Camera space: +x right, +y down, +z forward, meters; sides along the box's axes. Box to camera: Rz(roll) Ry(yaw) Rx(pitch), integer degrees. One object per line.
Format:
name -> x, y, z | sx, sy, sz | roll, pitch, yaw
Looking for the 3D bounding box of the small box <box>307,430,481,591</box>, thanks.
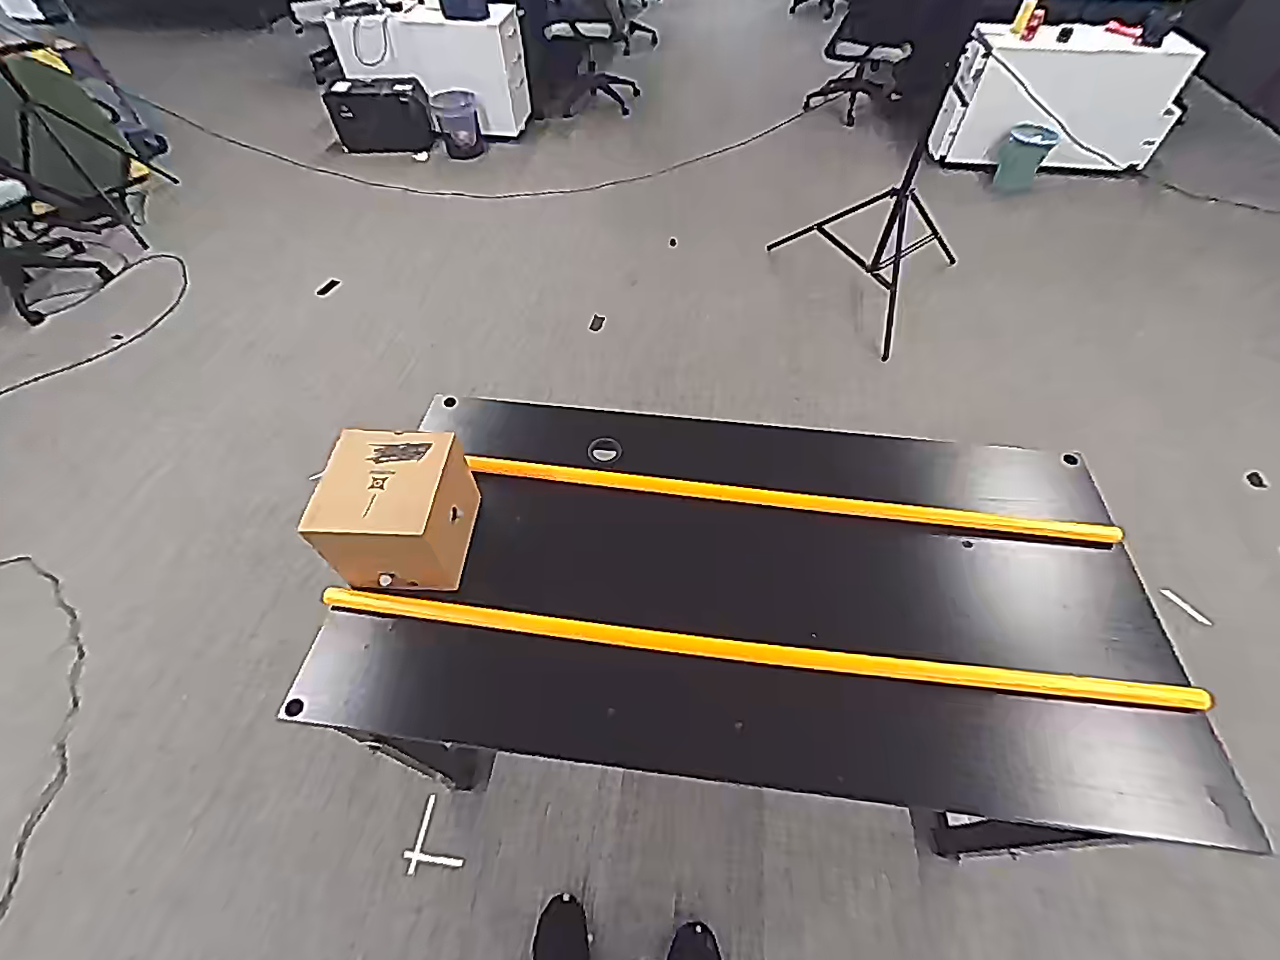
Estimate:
small box -> -0.348, 0.047, 0.808 | 0.168, 0.176, 0.179 | 2, 54, 1
